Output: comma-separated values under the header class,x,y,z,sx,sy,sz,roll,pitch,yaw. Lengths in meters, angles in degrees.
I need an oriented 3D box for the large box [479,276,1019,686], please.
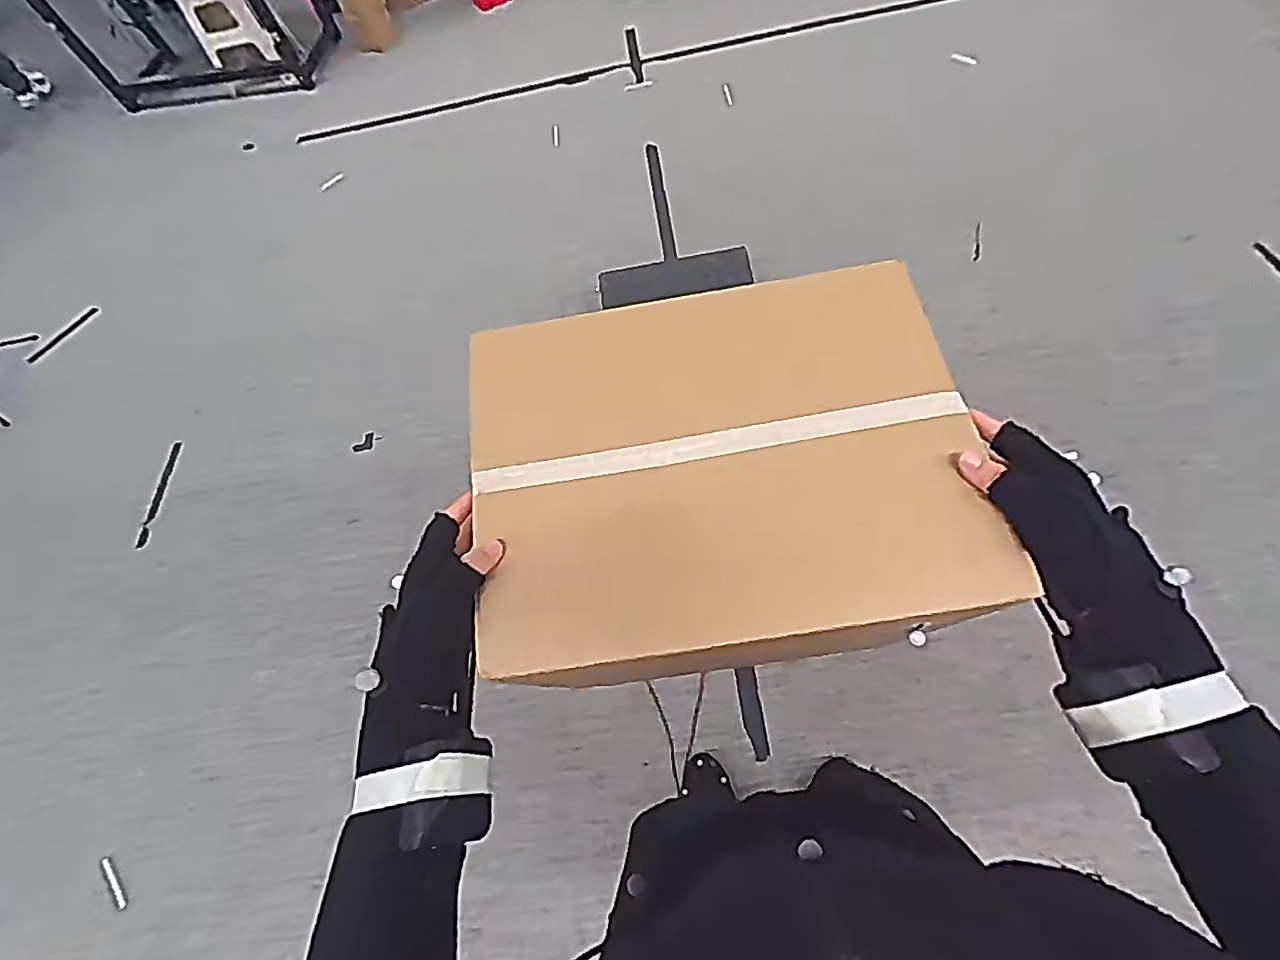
class,x,y,z,sx,sy,sz,roll,pitch,yaw
large box,0.077,0.034,0.591,0.408,0.320,0.320,-9,67,2
